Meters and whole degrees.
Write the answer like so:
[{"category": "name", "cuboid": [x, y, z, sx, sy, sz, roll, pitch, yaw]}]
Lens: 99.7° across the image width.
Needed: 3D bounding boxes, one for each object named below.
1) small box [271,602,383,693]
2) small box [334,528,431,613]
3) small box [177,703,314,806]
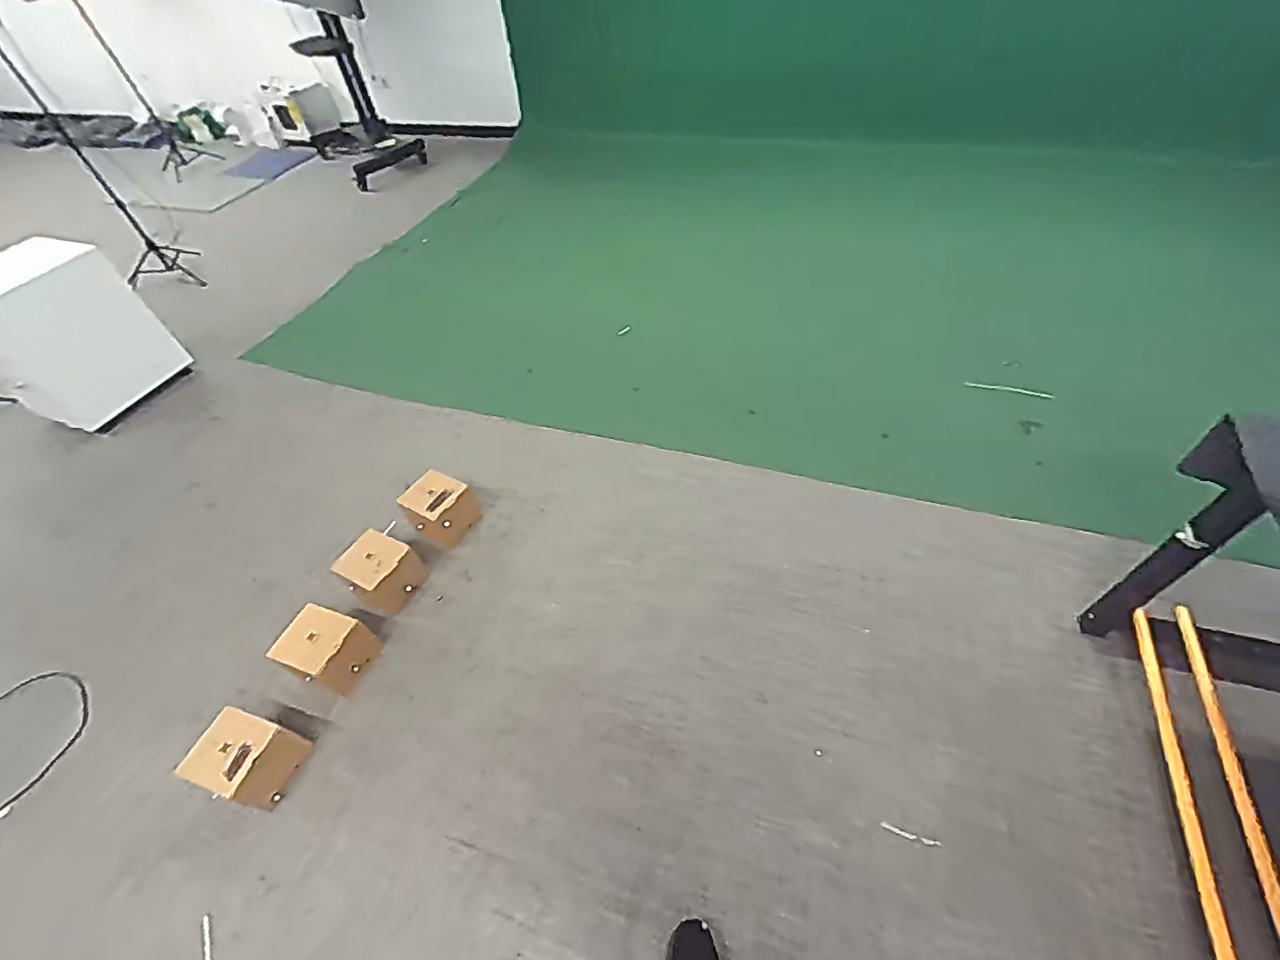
[{"category": "small box", "cuboid": [-0.866, 0.472, 1.512, 0.179, 0.176, 0.168, 13, 52, 15]}, {"category": "small box", "cuboid": [-0.787, 0.283, 1.667, 0.179, 0.176, 0.168, 20, 54, 20]}, {"category": "small box", "cuboid": [-0.960, 0.682, 1.335, 0.179, 0.176, 0.168, 12, 51, 16]}]
